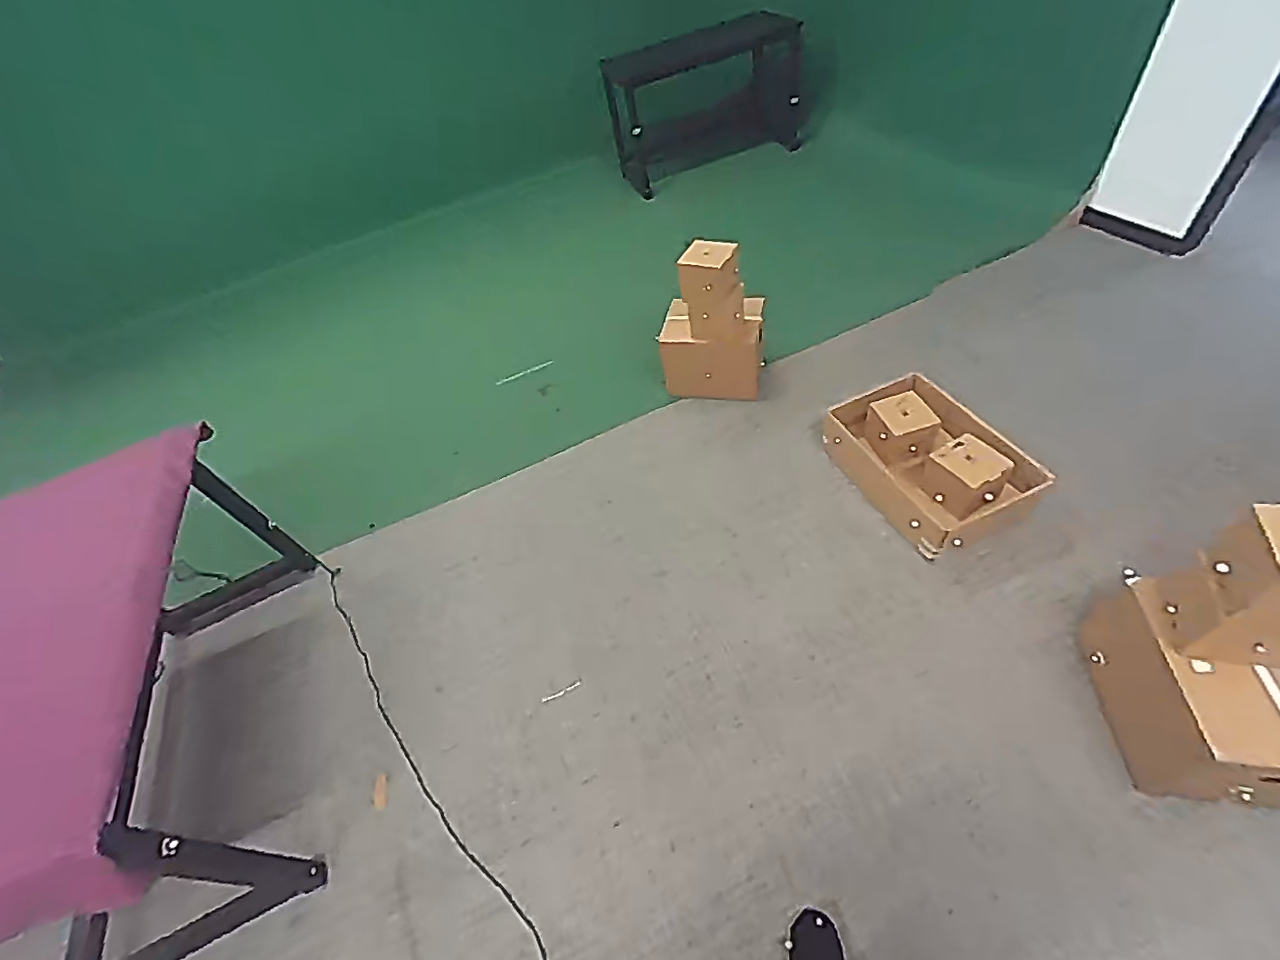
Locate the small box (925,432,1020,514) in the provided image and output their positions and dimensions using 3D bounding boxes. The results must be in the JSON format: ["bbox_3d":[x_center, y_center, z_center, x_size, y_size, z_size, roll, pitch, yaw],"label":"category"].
[{"bbox_3d":[1.052,-0.013,1.727,0.168,0.176,0.179,-28,50,-9],"label":"small box"}]

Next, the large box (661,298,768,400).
[{"bbox_3d":[0.340,-0.568,2.358,0.408,0.320,0.320,5,51,18],"label":"large box"}]

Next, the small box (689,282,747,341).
[{"bbox_3d":[0.314,-0.666,2.124,0.179,0.176,0.168,15,58,25],"label":"small box"}]

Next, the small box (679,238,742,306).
[{"bbox_3d":[0.267,-0.768,2.004,0.179,0.176,0.168,18,58,27],"label":"small box"}]

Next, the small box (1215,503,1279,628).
[{"bbox_3d":[1.210,0.164,0.970,0.179,0.176,0.168,6,53,22],"label":"small box"}]
